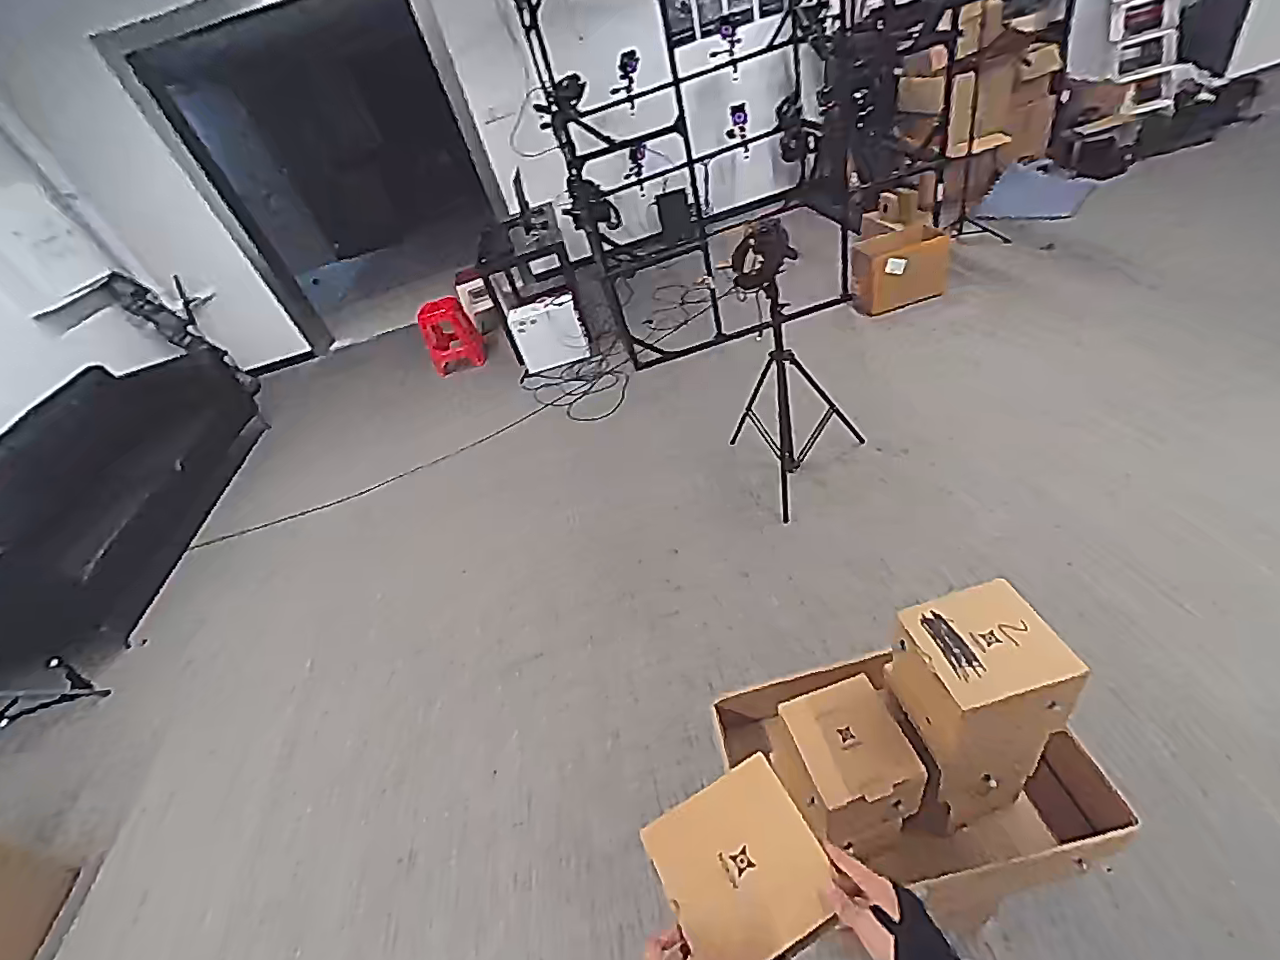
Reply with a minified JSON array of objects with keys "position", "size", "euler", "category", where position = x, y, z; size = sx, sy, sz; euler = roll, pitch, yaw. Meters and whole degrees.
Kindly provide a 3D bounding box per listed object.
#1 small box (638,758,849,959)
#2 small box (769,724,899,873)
[{"position":[0.125,0.475,0.649],"size":[0.179,0.176,0.168],"euler":[-31,47,-7],"category":"small box"},{"position":[0.358,0.603,1.018],"size":[0.168,0.176,0.179],"euler":[-20,38,-2],"category":"small box"}]
